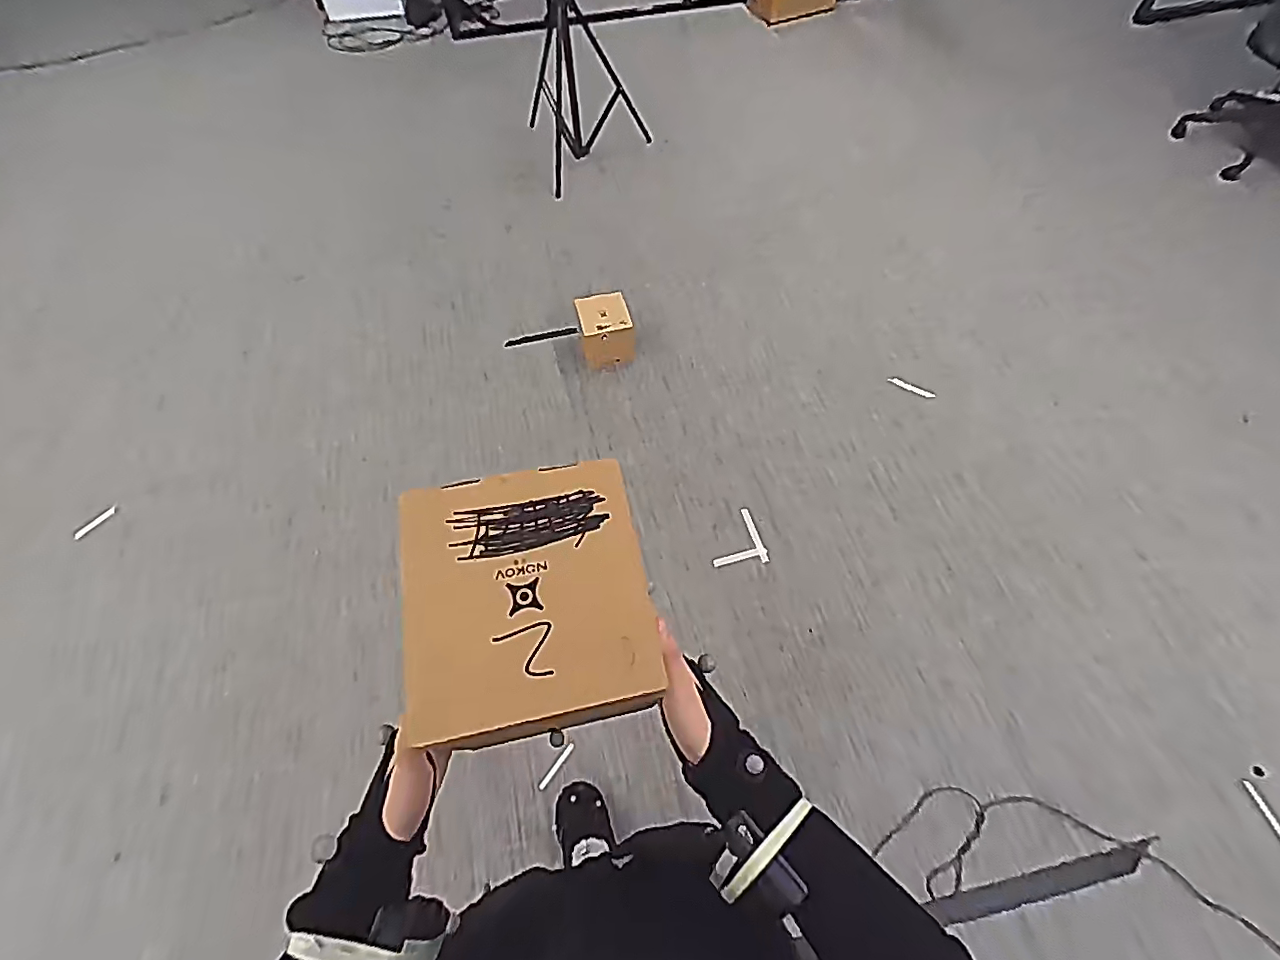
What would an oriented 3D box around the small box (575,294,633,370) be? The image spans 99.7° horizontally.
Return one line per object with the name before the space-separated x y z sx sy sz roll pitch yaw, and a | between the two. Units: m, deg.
small box | -0.123 -0.511 1.871 0.168 0.176 0.179 -13 60 -7
